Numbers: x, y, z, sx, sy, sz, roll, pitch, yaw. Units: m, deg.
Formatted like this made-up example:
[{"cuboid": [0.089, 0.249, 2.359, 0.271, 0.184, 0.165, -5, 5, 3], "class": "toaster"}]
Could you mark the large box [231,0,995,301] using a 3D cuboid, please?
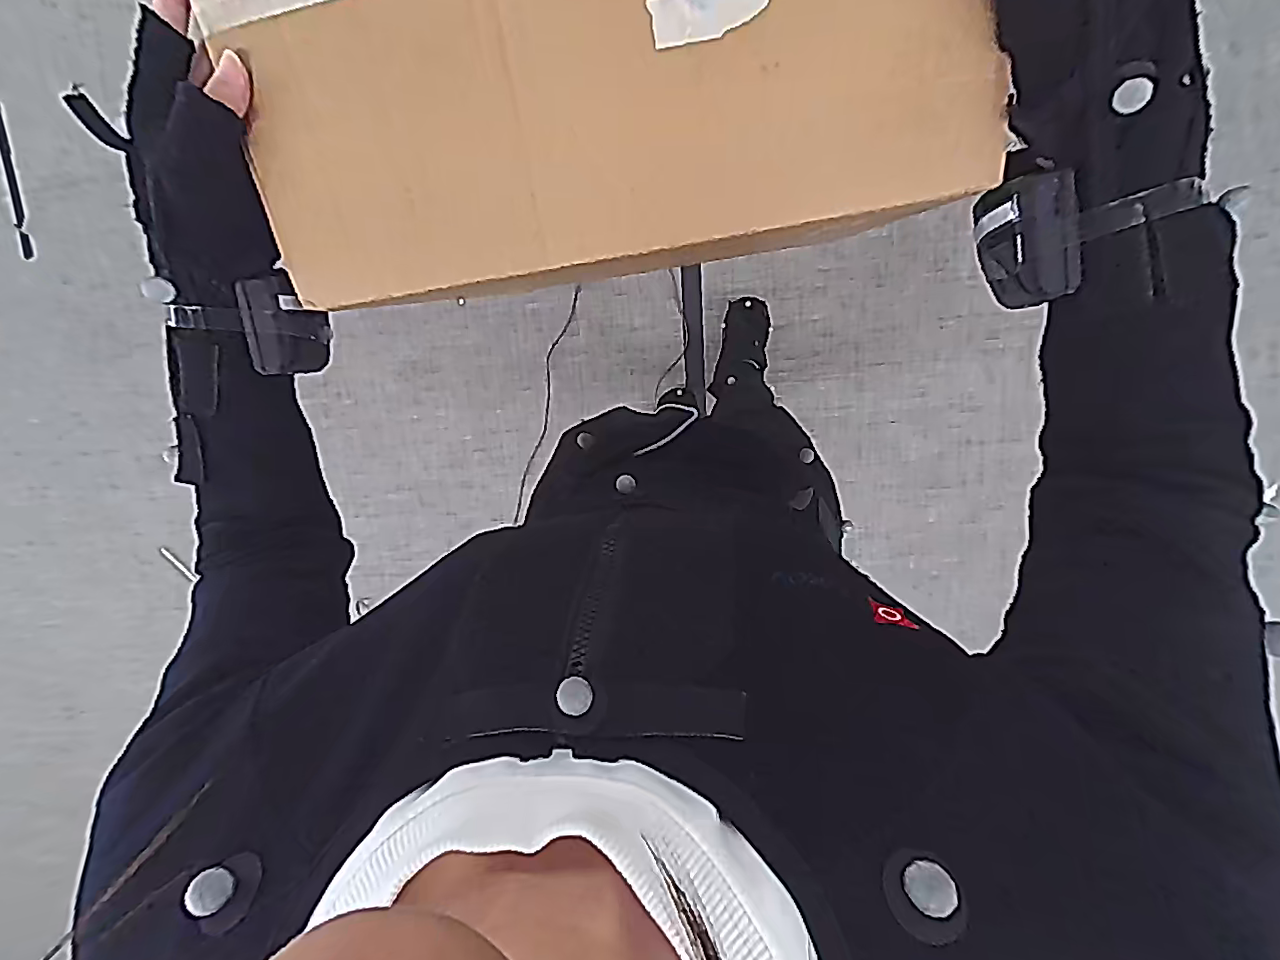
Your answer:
[{"cuboid": [-0.018, -0.333, 0.409, 0.408, 0.320, 0.320, -7, 110, 10], "class": "large box"}]
